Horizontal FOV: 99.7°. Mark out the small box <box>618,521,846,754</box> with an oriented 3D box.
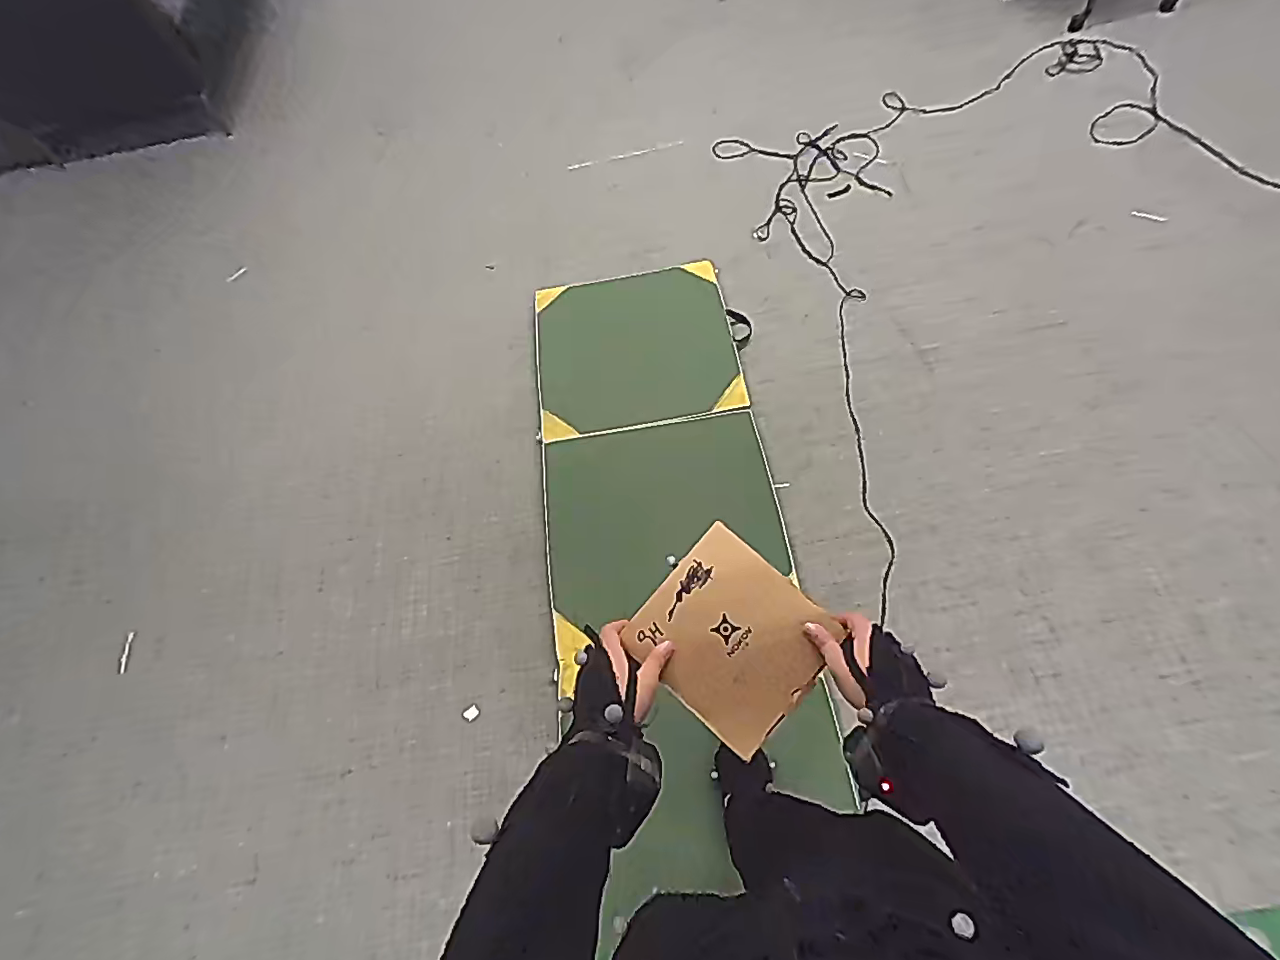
[{"bbox_3d":[0.098,0.171,0.629,0.179,0.176,0.168,41,83,11],"label":"small box"}]
